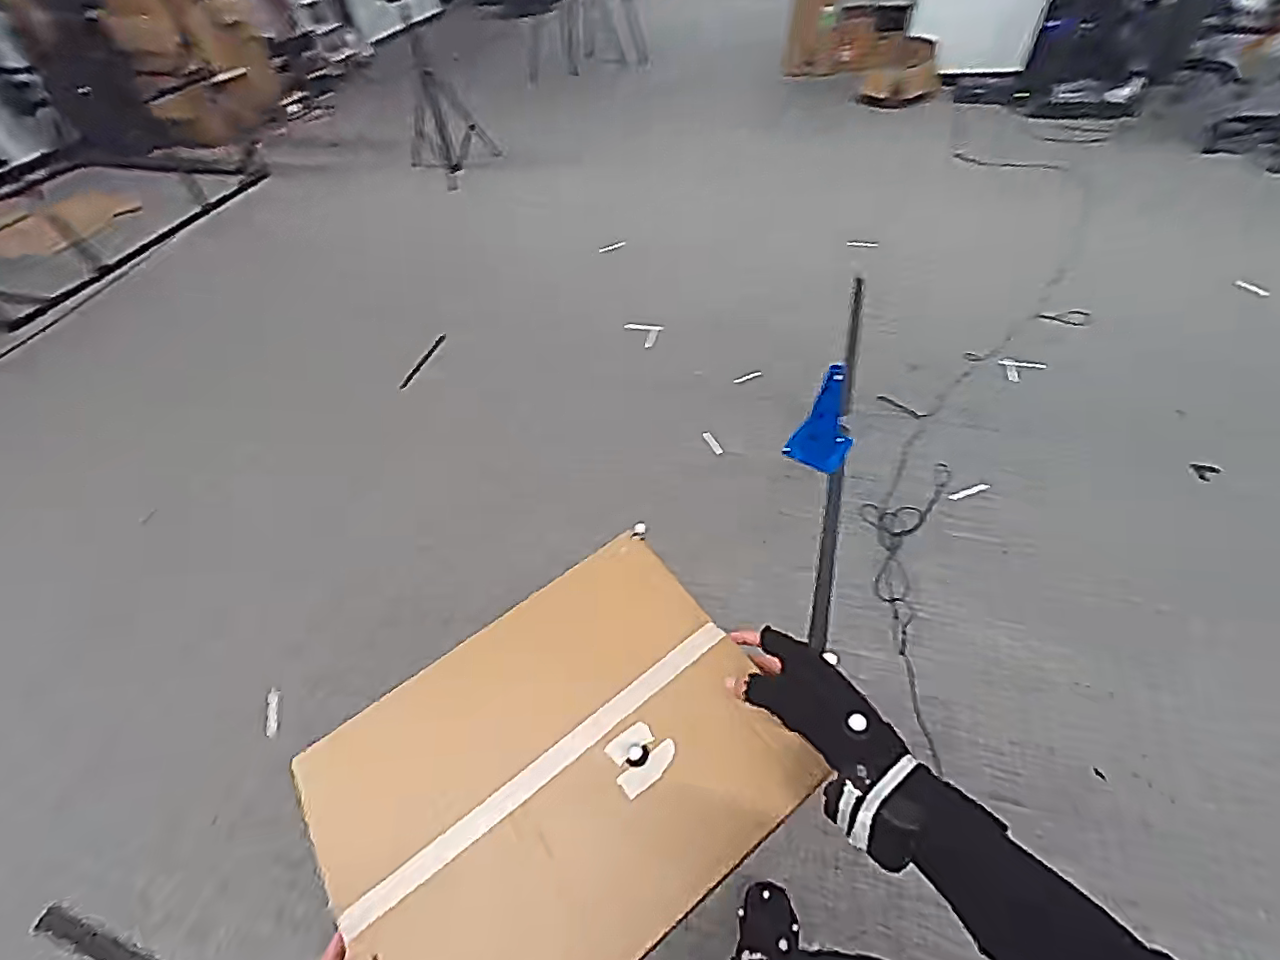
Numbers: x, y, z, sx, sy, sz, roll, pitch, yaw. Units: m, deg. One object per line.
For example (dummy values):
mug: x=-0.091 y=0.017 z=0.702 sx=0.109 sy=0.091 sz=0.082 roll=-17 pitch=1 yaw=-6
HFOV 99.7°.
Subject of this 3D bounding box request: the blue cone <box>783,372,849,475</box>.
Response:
blue cone: x=0.620 y=-0.214 z=1.829 sx=0.193 sy=0.380 sz=0.192 roll=28 pitch=59 yaw=27
